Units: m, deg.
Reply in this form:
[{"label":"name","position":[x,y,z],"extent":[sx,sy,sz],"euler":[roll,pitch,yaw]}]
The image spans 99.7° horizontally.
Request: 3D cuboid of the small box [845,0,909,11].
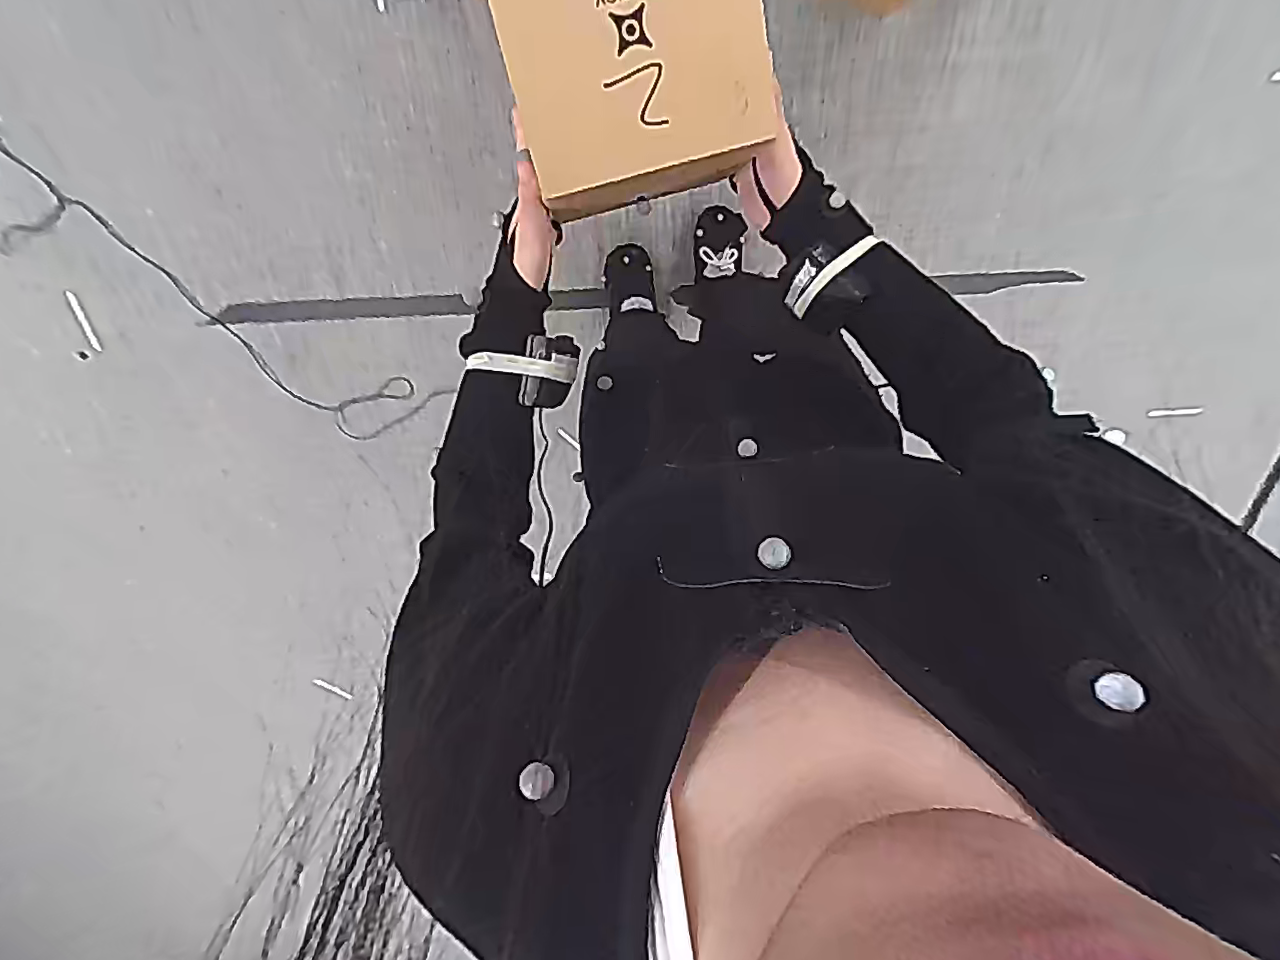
[{"label":"small box","position":[0.453,-1.005,0.996],"extent":[0.179,0.176,0.168],"euler":[12,117,-8]}]
